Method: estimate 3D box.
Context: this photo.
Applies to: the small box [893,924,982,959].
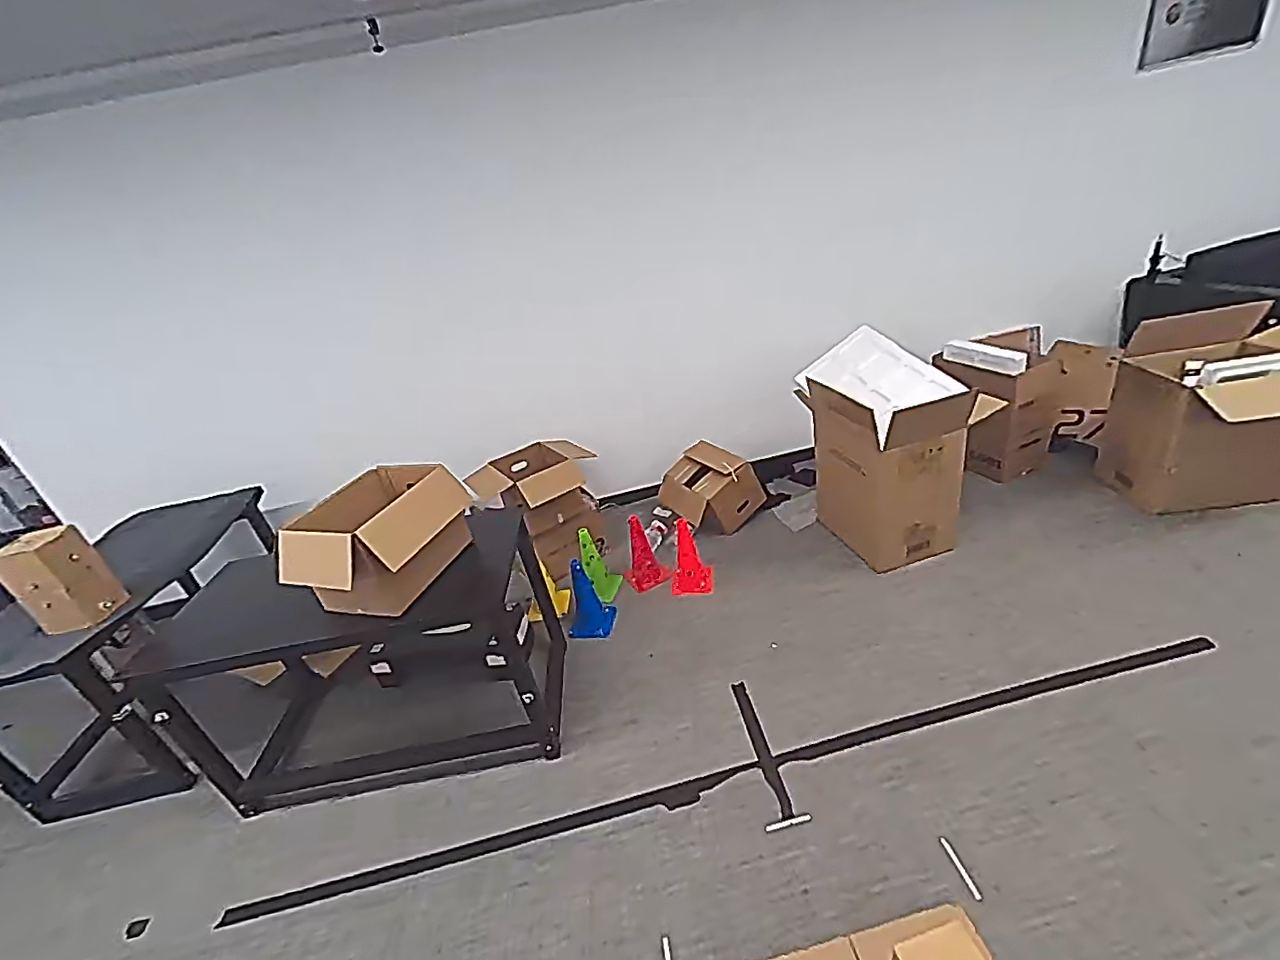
[{"bbox_3d":[0.656,1.104,1.143,0.168,0.176,0.179,-16,27,-7],"label":"small box"}]
